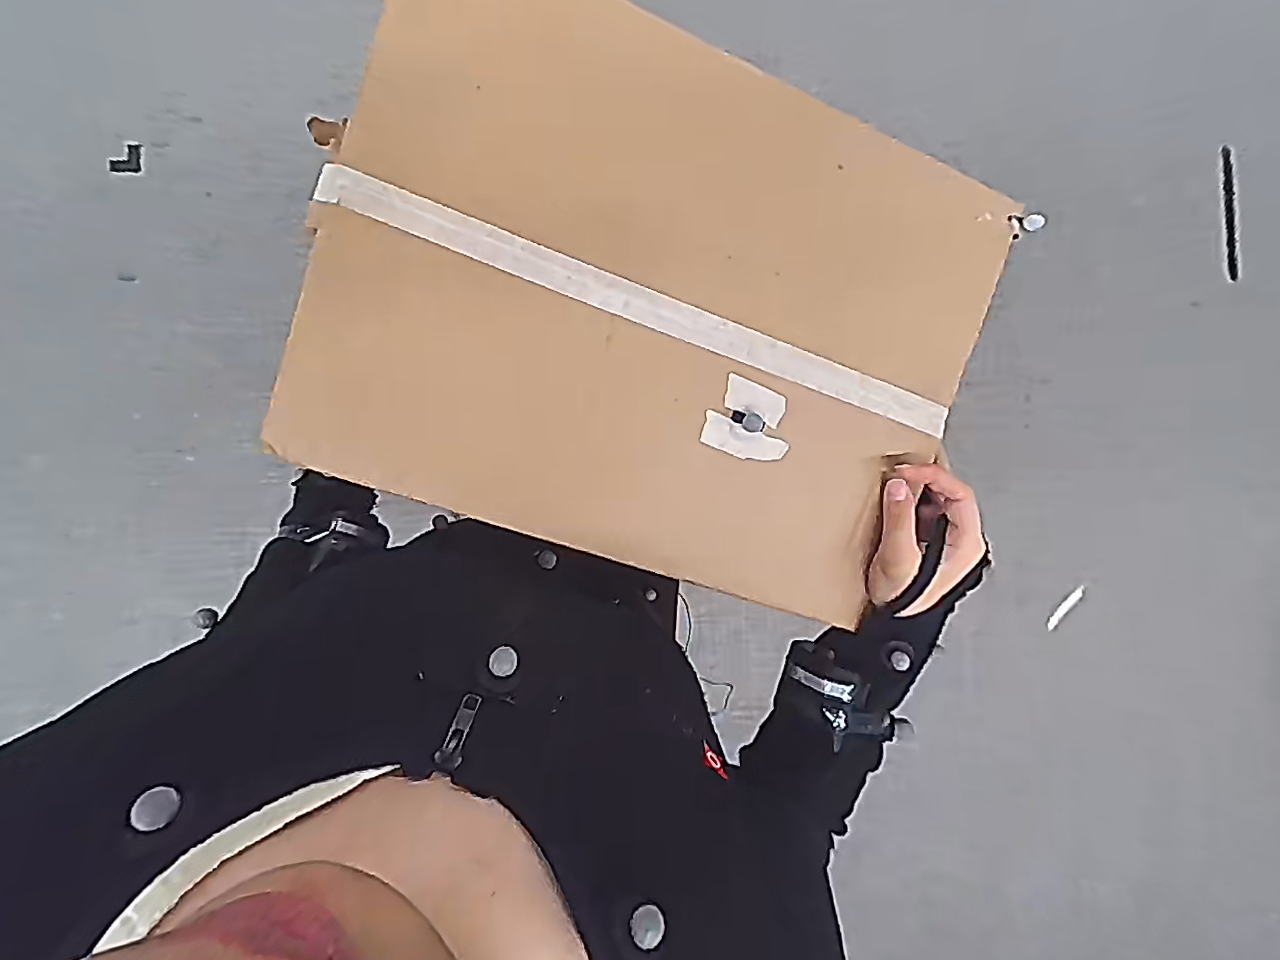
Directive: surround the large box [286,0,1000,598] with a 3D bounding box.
[{"bbox_3d":[-0.006,-0.129,0.488,0.408,0.320,0.320,17,94,-12],"label":"large box"}]
